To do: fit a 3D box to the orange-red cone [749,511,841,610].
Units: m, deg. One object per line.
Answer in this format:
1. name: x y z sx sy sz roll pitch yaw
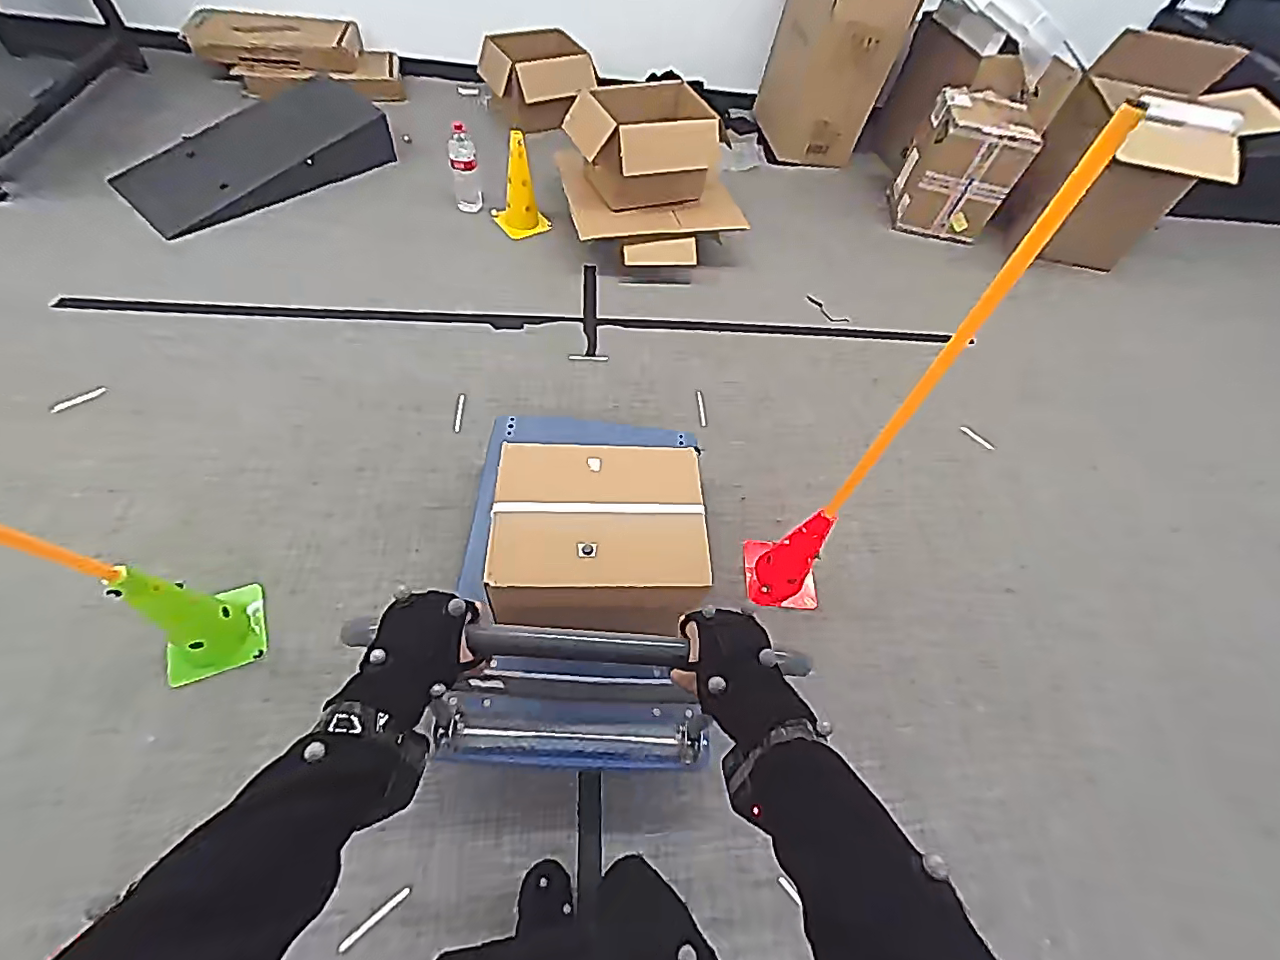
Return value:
1. orange-red cone: 0.430 0.178 1.399 0.199 0.360 0.198 7 57 -5
